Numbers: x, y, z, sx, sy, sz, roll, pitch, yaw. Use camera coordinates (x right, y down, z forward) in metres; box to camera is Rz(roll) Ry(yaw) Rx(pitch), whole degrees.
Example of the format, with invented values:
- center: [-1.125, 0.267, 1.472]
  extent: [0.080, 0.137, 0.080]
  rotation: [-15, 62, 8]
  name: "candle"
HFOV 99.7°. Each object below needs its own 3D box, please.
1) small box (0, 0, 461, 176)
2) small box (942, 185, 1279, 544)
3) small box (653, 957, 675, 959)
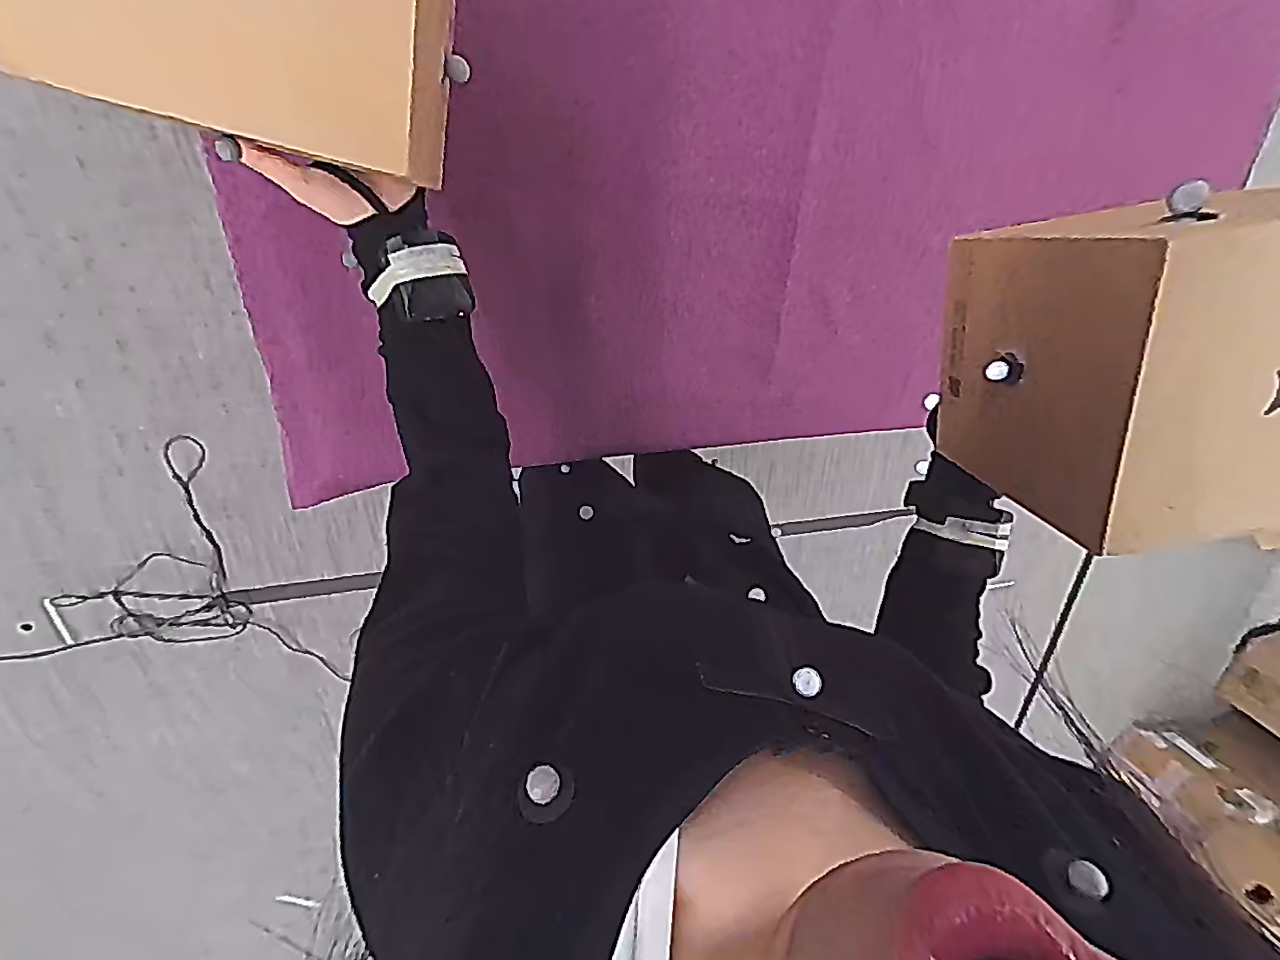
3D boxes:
- center: [-0.204, -0.286, 0.307]
  extent: [0.179, 0.176, 0.168]
  rotation: [6, 114, -17]
  name: "small box"
- center: [0.320, -0.082, 0.339]
  extent: [0.179, 0.176, 0.168]
  rotation: [-10, 115, 1]
  name: "small box"
- center: [0.051, 1.693, 1.751]
  extent: [0.168, 0.176, 0.179]
  rotation: [-2, 115, -15]
  name: "small box"
